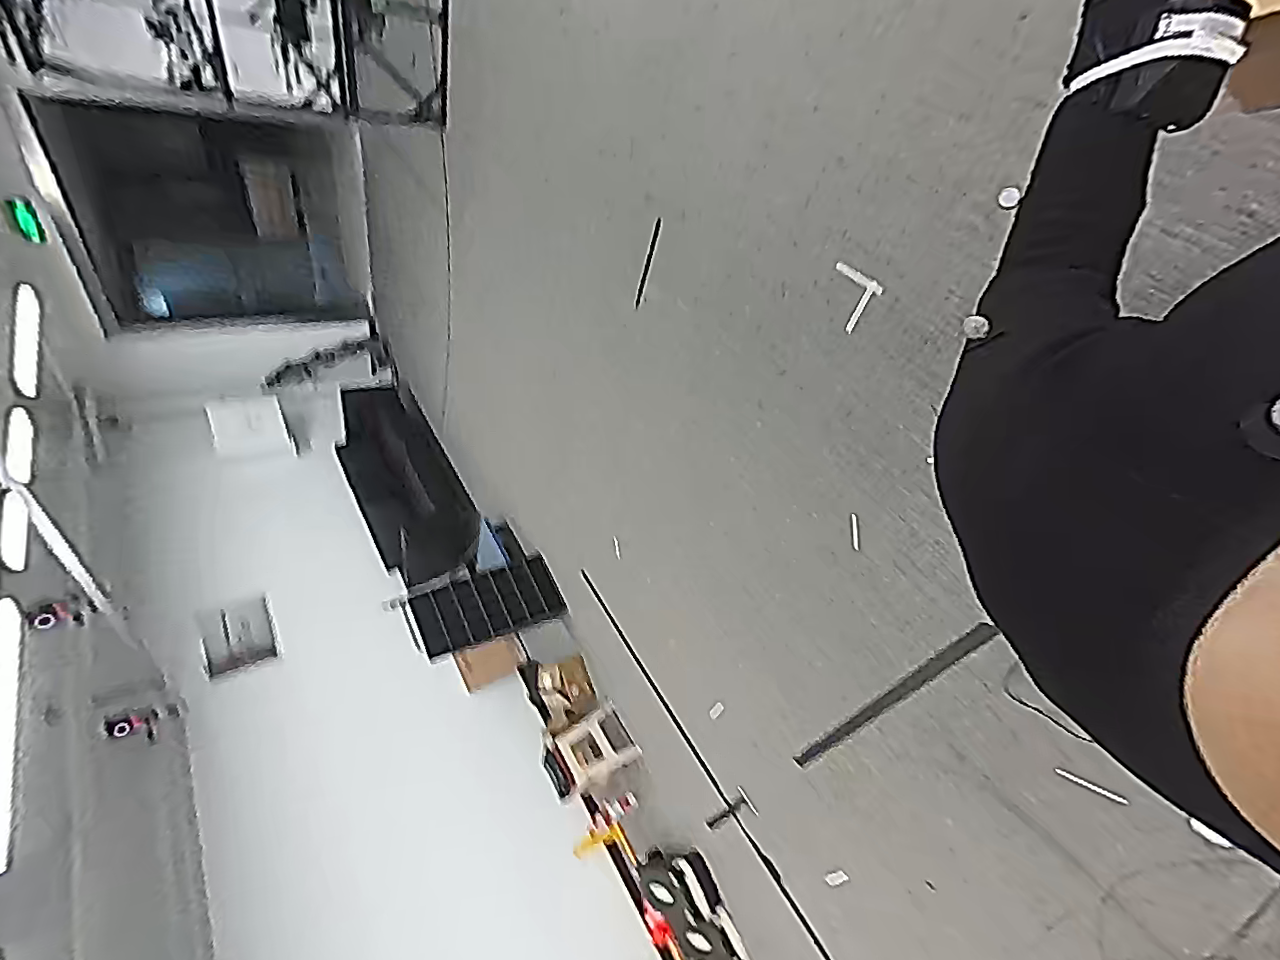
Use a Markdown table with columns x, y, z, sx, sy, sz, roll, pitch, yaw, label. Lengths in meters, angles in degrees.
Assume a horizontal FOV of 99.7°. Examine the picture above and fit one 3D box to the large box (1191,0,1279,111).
| x | y | z | sx | sy | sz | roll | pitch | yaw | label |
| --- | --- | --- | --- | --- | --- | --- | --- | --- | --- |
| 0.611 | -0.455 | 0.278 | 0.408 | 0.320 | 0.320 | 16 | 116 | 49 | large box |
